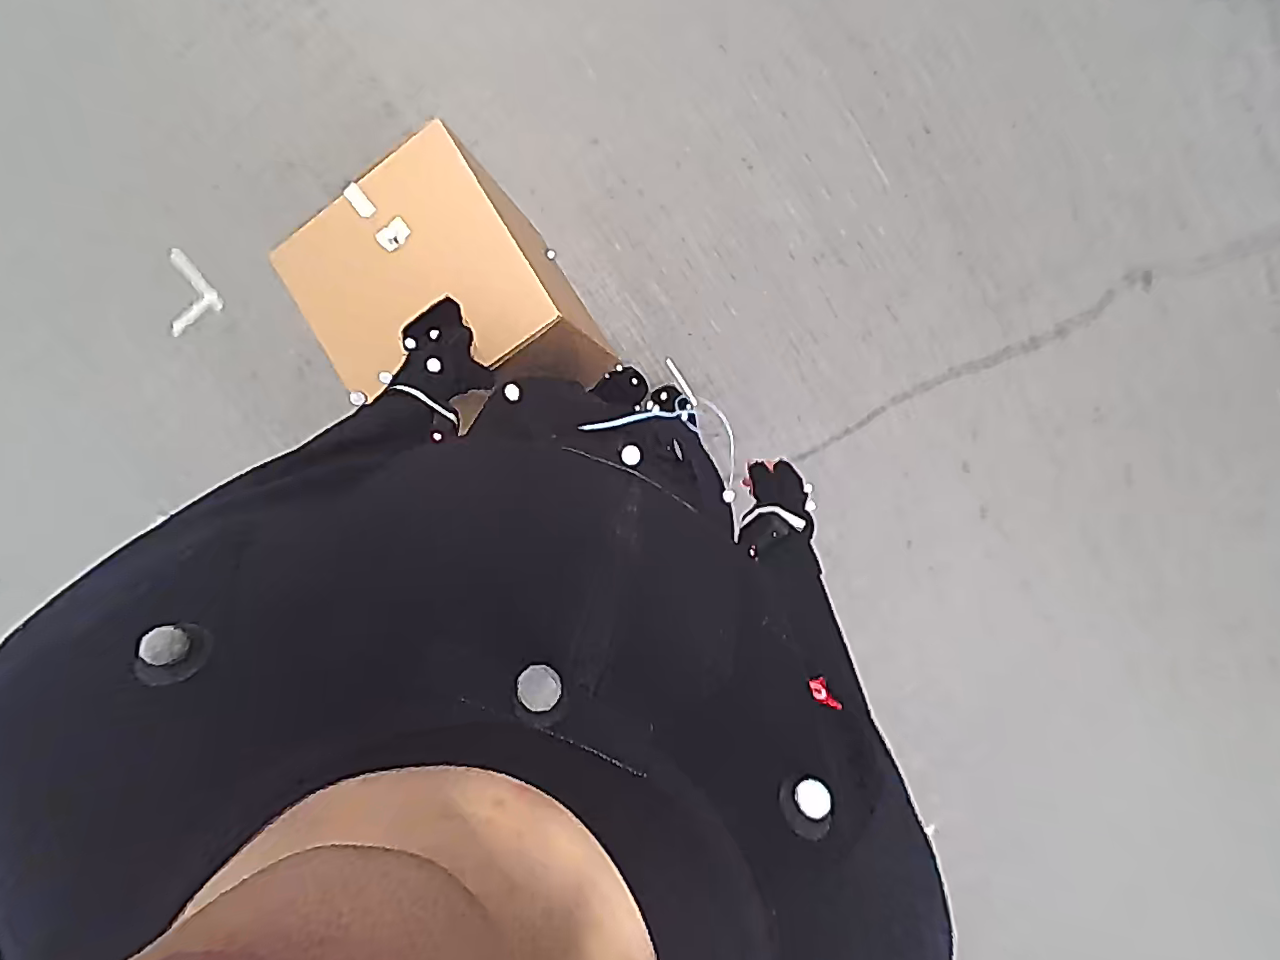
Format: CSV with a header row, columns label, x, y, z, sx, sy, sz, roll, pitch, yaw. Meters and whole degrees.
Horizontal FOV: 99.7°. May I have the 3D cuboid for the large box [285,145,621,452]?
label,x,y,z,sx,sy,sz,roll,pitch,yaw
large box,-0.277,-0.265,0.931,0.320,0.408,0.320,-32,90,10
